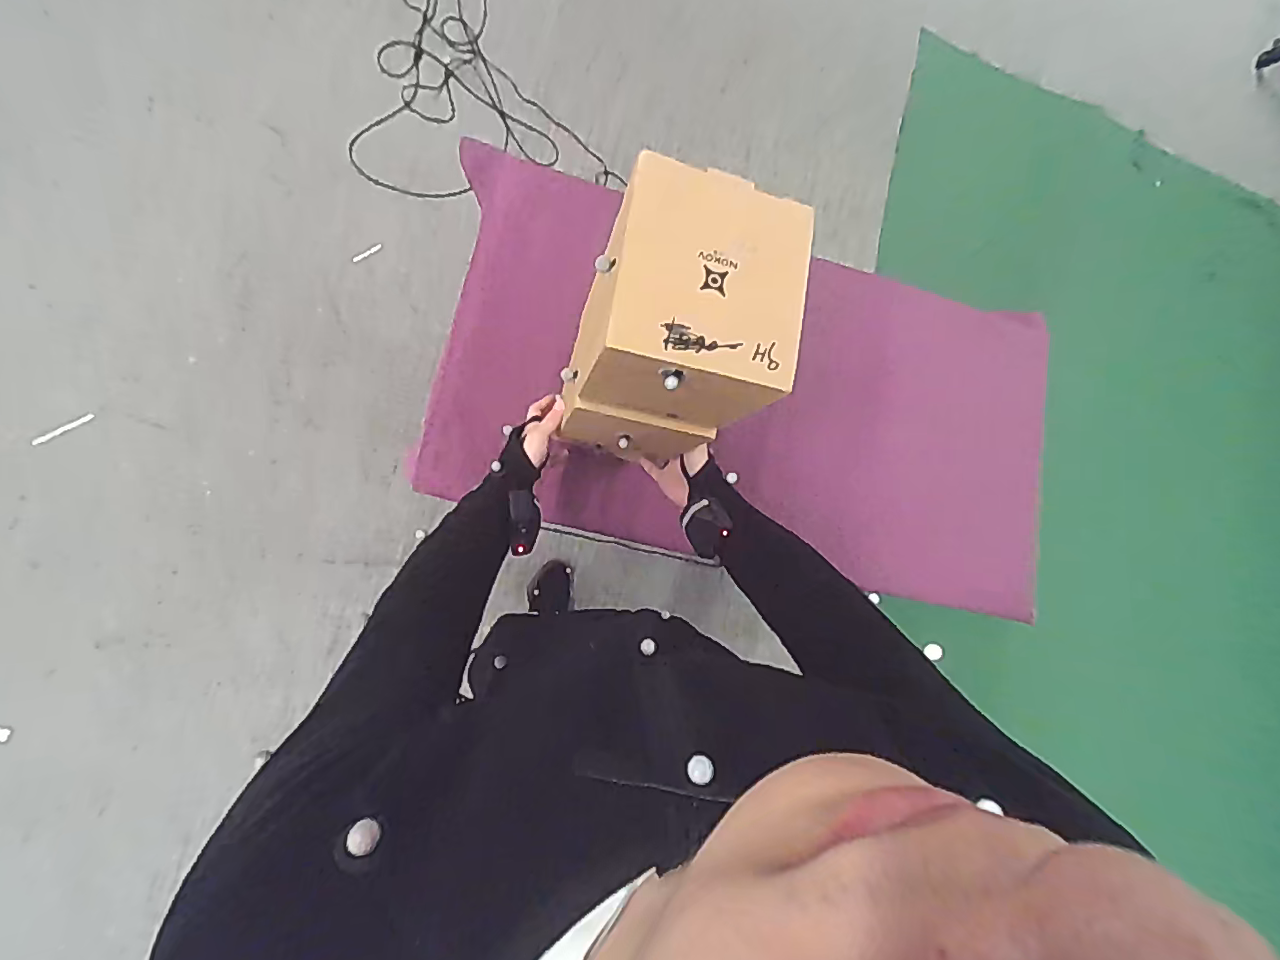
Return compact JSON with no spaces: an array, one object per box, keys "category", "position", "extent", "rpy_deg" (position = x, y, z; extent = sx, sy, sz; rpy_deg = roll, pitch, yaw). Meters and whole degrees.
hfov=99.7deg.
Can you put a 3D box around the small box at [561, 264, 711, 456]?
[{"category":"small box","position":[-0.002,-0.137,0.688],"extent":[0.168,0.176,0.179],"rpy_deg":[12,81,-13]}]

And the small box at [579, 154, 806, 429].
[{"category":"small box","position":[0.040,-0.165,0.532],"extent":[0.168,0.176,0.179],"rpy_deg":[11,81,-12]}]
